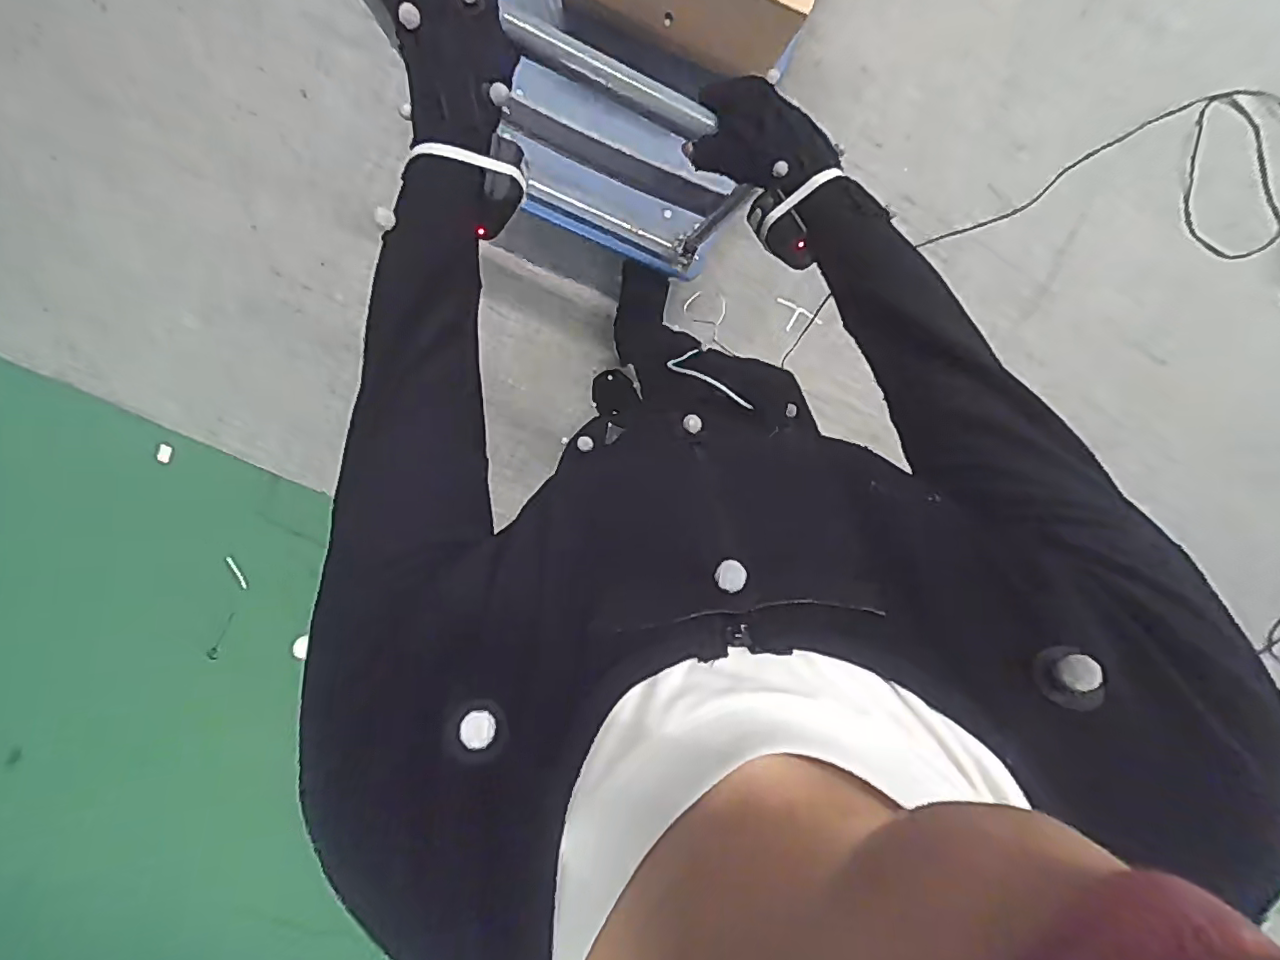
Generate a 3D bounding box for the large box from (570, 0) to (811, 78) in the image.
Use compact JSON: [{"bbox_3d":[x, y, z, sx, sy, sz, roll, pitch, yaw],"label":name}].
[{"bbox_3d":[0.103,-0.933,0.867,0.408,0.320,0.320,17,108,-7],"label":"large box"}]
